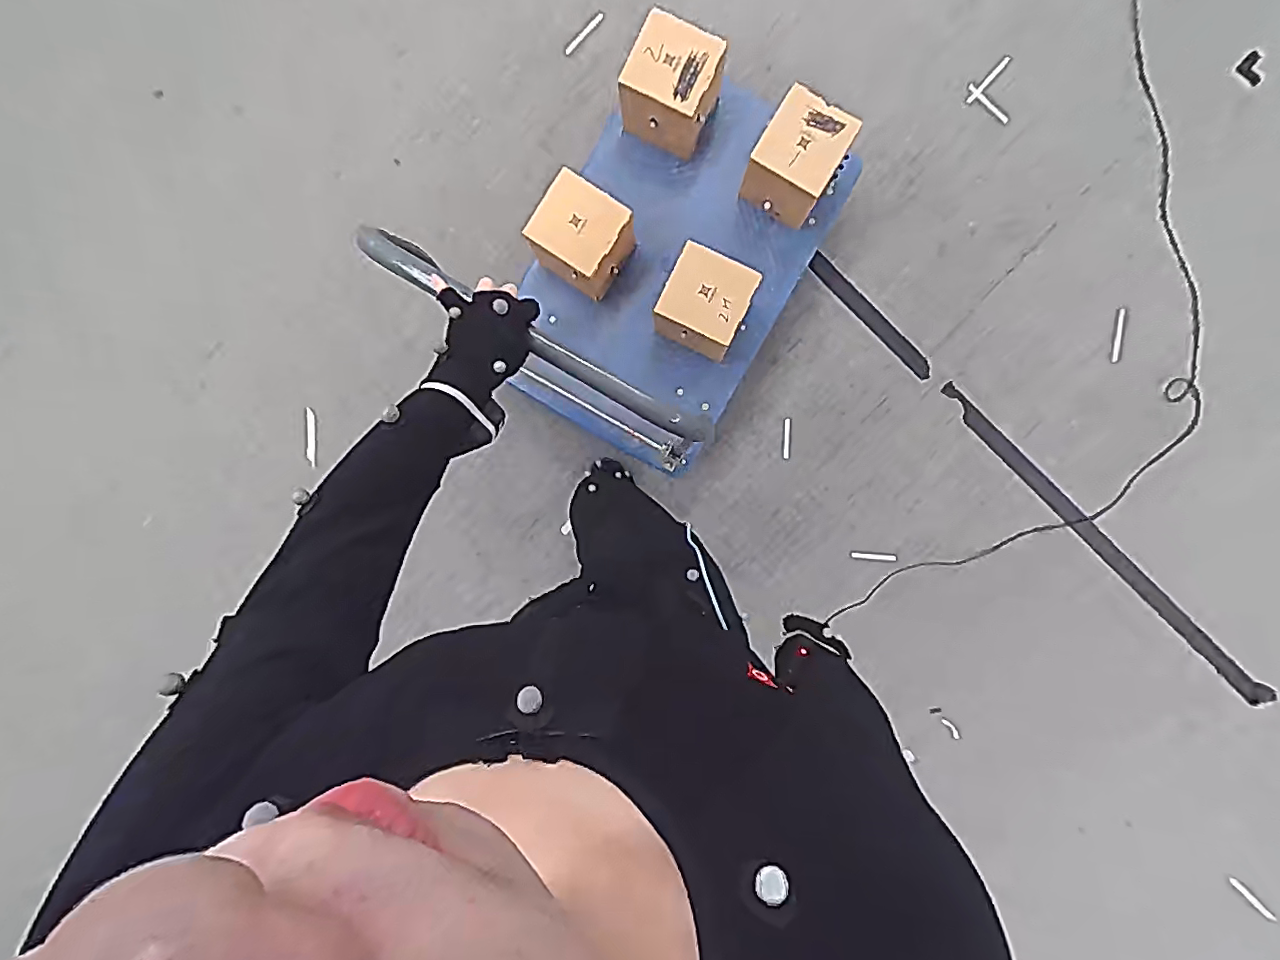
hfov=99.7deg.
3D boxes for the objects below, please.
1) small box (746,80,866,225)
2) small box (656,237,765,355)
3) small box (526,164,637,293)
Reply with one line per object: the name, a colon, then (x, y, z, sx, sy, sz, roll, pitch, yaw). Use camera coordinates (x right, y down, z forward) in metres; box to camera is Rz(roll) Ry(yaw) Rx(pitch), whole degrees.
small box: (0.347, -0.699, 1.175, 0.168, 0.176, 0.179, 32, 94, 1)
small box: (0.148, -0.394, 1.194, 0.179, 0.176, 0.168, 27, 93, 1)
small box: (-0.122, -0.545, 1.200, 0.179, 0.176, 0.168, 33, 93, -1)
